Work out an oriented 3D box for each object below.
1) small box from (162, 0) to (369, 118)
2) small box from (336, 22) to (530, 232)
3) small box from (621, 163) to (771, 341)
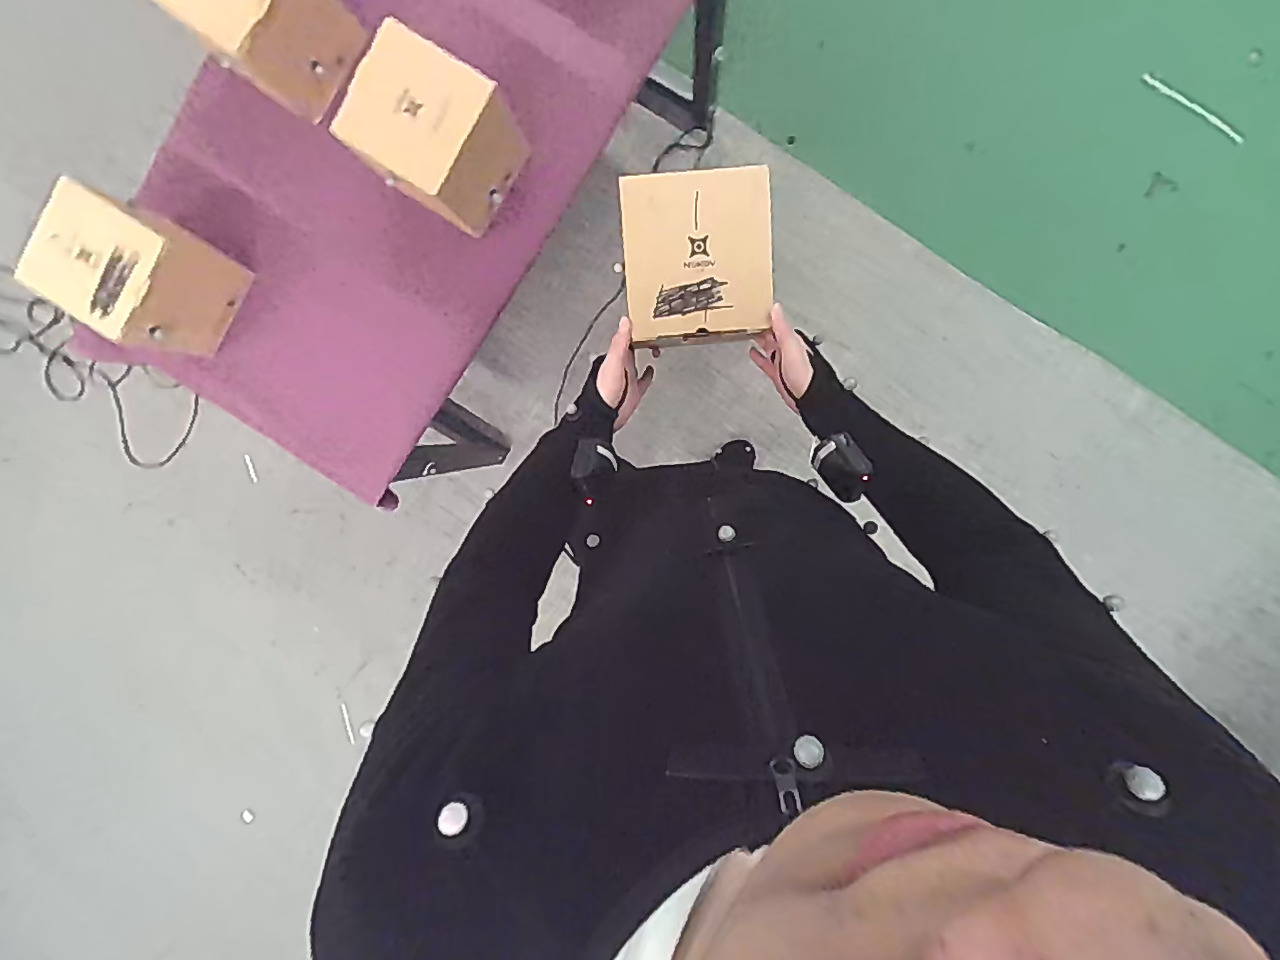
[{"bbox_3d":[-0.559,-0.698,0.814,0.179,0.176,0.168,35,97,-1],"label":"small box"},{"bbox_3d":[-0.295,-0.506,0.806,0.179,0.176,0.168,34,99,2],"label":"small box"},{"bbox_3d":[0.068,-0.271,0.685,0.168,0.176,0.179,-4,100,2],"label":"small box"}]
